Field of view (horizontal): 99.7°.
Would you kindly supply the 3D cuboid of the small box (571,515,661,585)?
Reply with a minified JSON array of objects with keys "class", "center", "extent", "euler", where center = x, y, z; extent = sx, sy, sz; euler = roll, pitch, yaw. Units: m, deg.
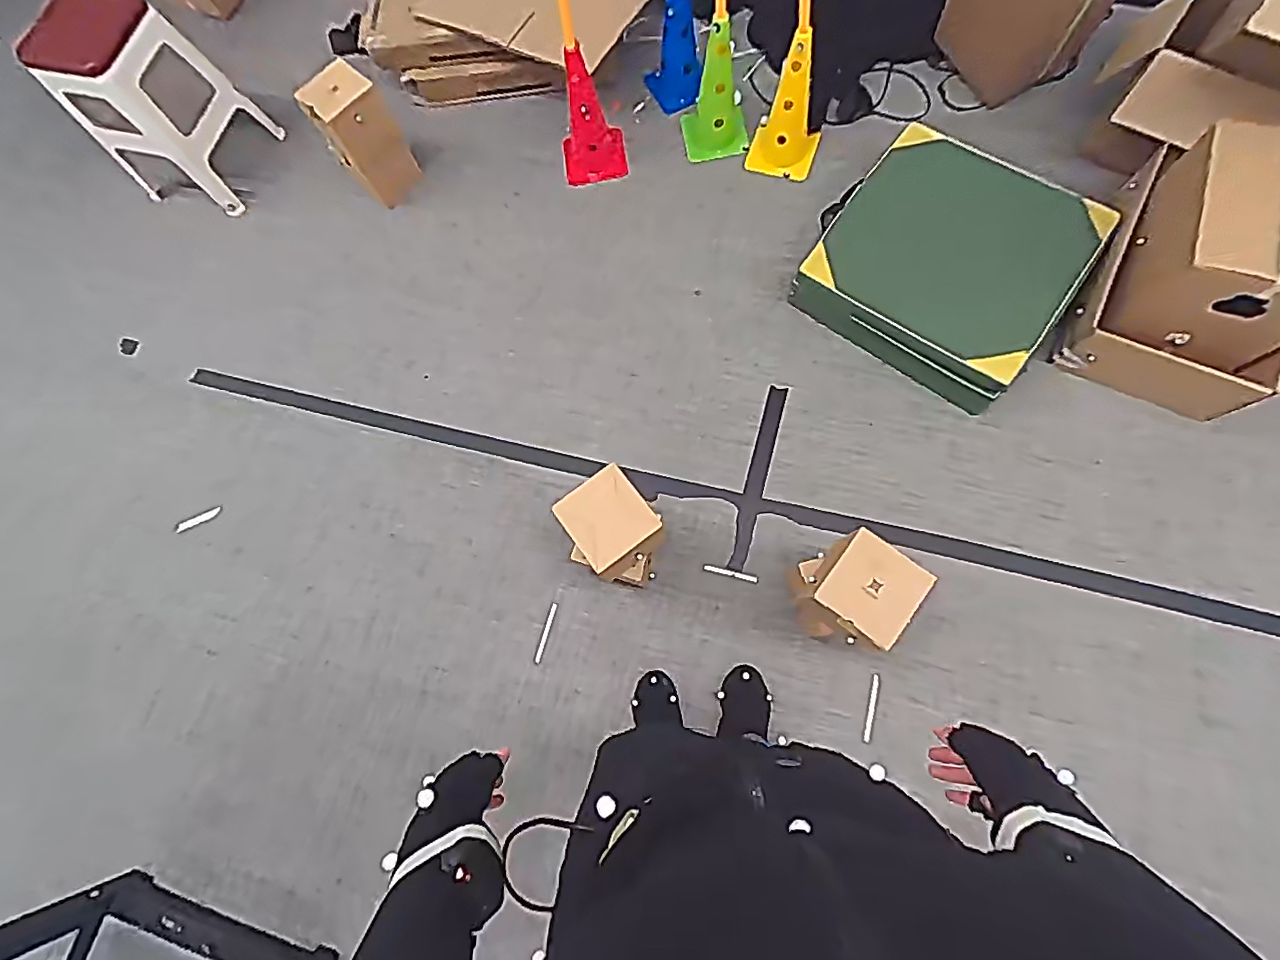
[{"class":"small box","center":[-0.047,0.159,1.348],"extent":[0.179,0.176,0.168],"euler":[16,75,11]}]

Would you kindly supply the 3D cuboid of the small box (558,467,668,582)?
[{"class":"small box","center":[-0.059,0.101,1.191],"extent":[0.168,0.176,0.179],"euler":[-37,73,-6]}]

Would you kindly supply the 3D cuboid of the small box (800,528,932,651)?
[{"class":"small box","center":[0.450,0.228,1.111],"extent":[0.168,0.176,0.179],"euler":[37,80,12]}]

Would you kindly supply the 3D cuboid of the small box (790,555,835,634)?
[{"class":"small box","center":[0.463,0.261,1.271],"extent":[0.179,0.176,0.168],"euler":[-15,75,1]}]
